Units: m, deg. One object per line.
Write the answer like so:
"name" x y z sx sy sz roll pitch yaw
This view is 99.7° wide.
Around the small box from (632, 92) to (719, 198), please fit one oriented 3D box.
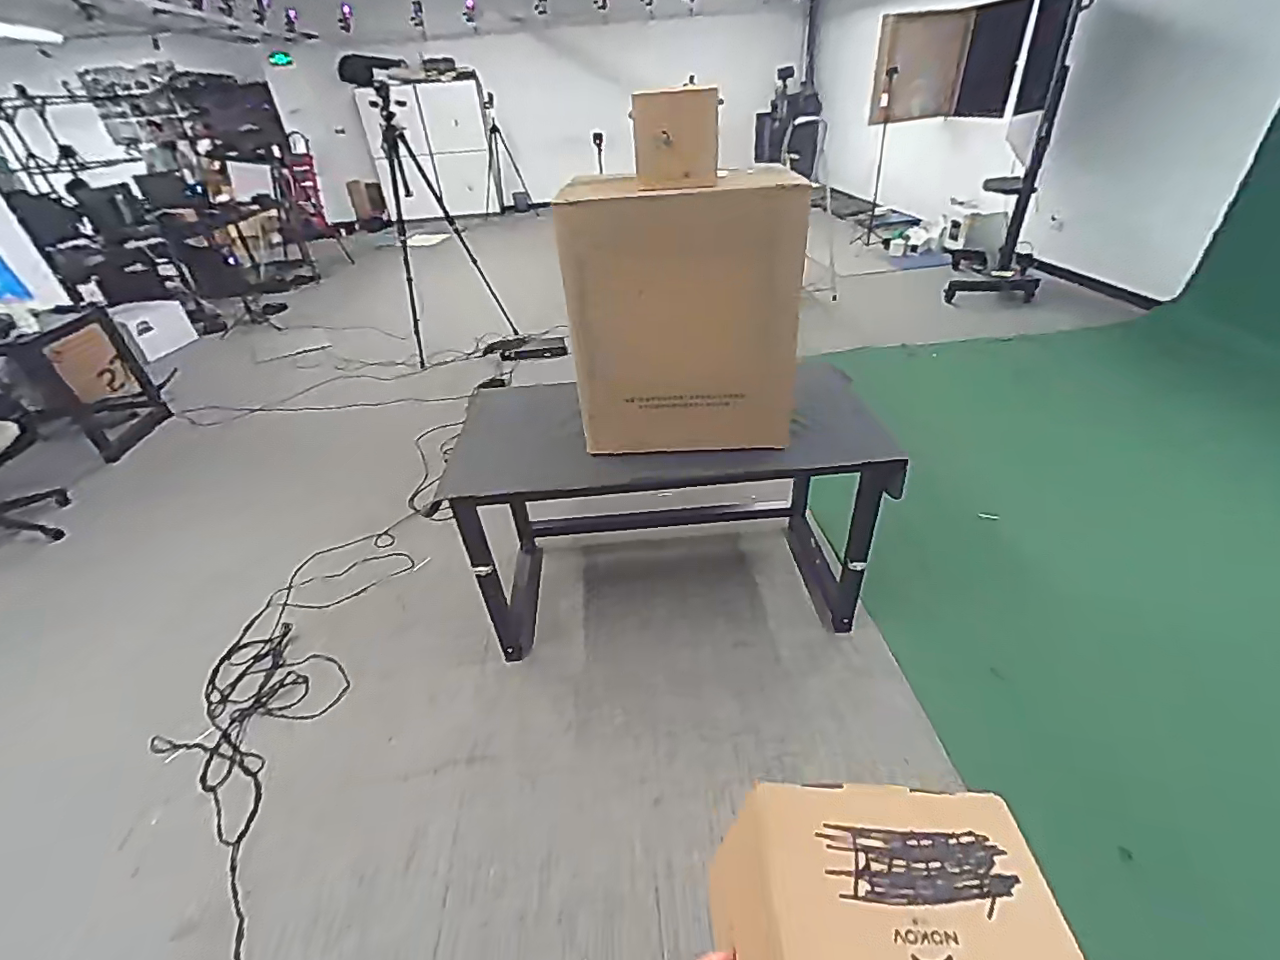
"small box" 0.080 -0.694 1.126 0.168 0.176 0.179 0 37 7
